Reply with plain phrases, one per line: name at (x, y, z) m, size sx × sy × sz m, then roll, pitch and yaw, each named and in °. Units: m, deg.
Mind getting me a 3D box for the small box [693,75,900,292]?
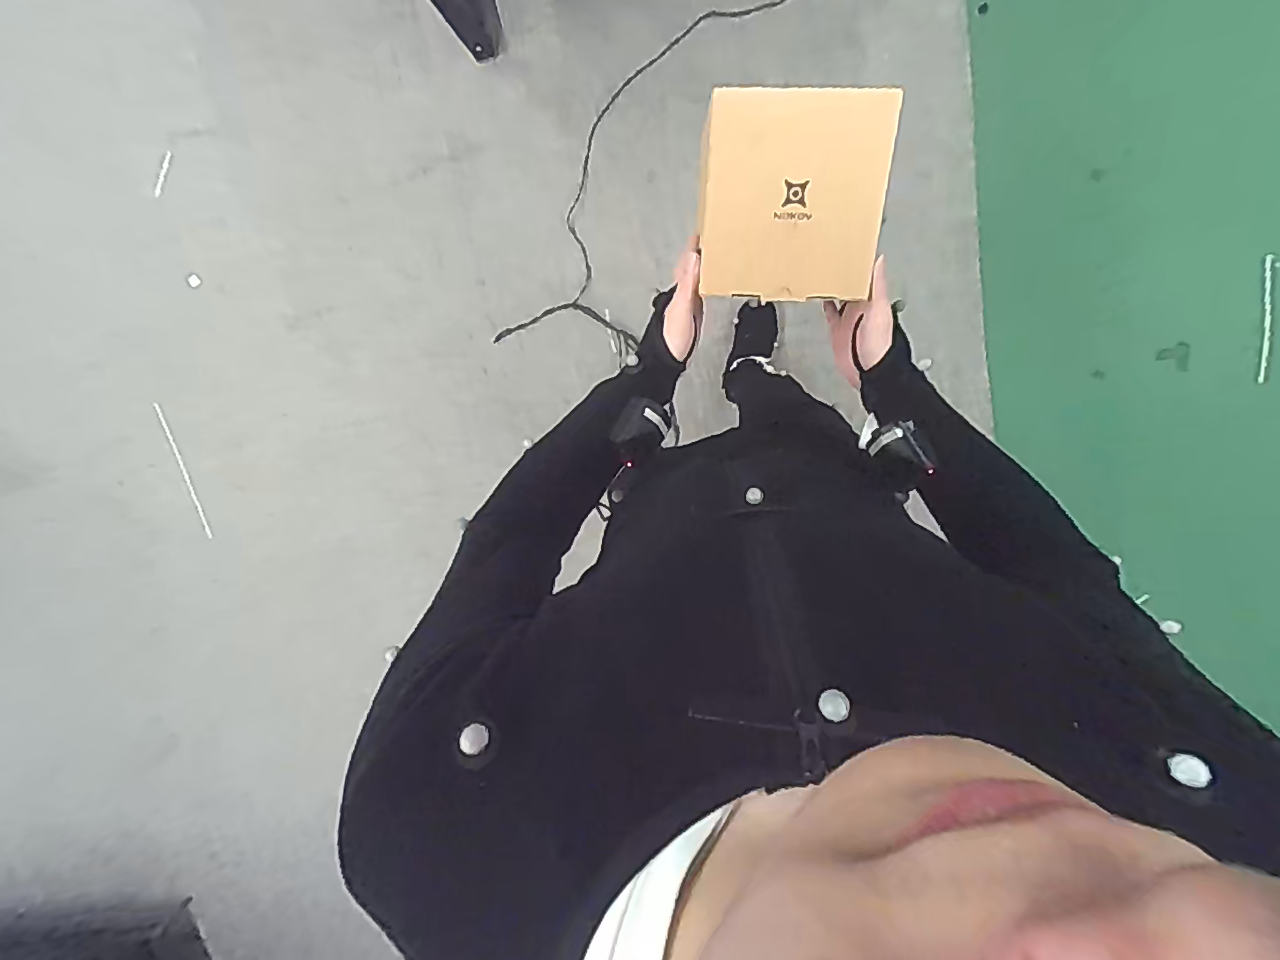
small box at (0.145, -0.296, 0.572) m, size 0.168 × 0.176 × 0.179 m, roll 3°, pitch 112°, yaw 2°
